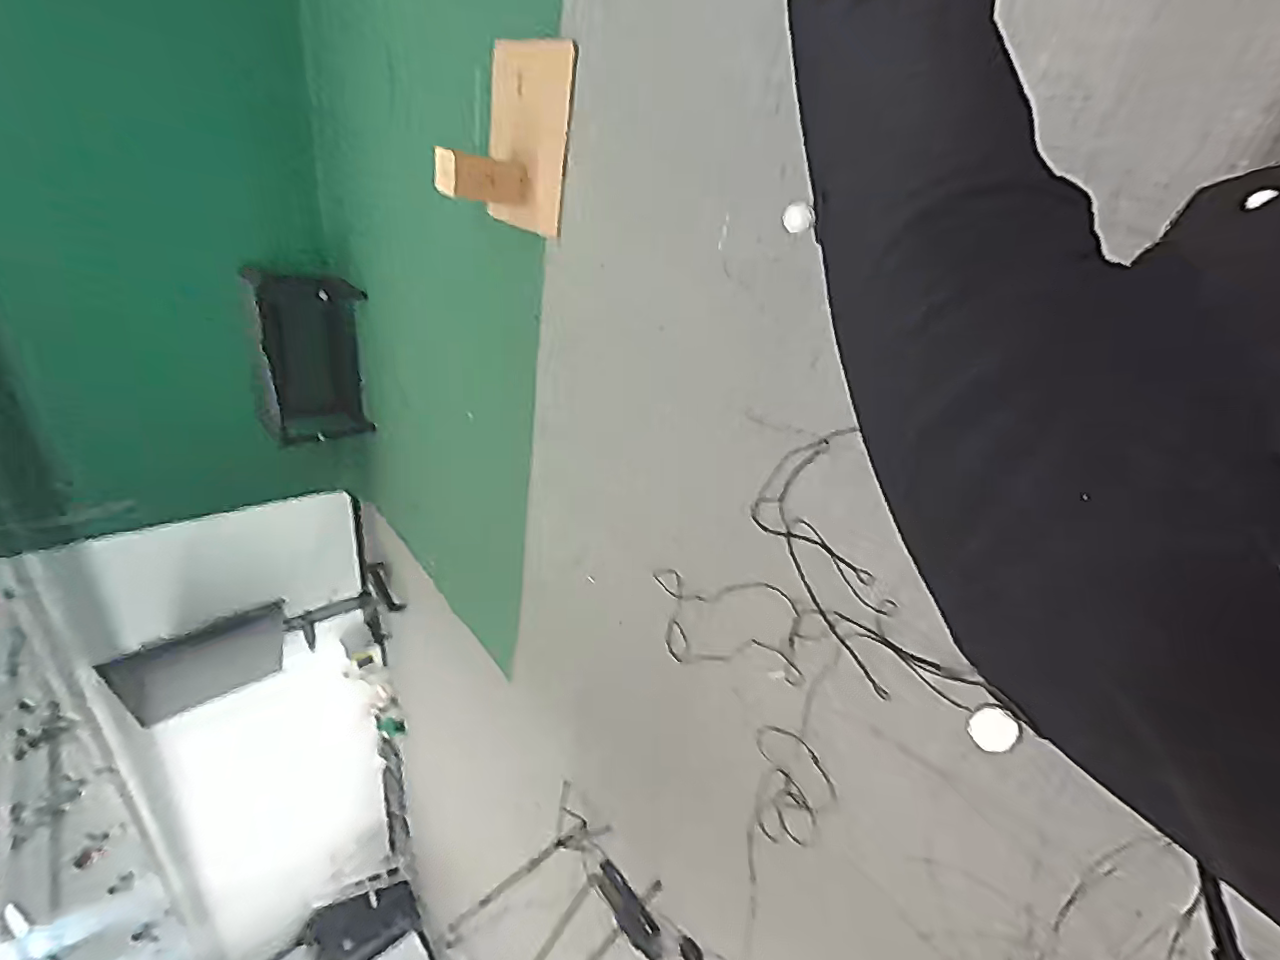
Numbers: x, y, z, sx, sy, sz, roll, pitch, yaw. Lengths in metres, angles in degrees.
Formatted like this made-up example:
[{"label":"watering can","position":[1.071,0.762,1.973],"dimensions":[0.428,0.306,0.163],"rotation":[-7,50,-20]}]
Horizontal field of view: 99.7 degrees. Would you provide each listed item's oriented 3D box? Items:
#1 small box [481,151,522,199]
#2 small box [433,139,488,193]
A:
[{"label":"small box","position":[-0.642,-1.364,2.411],"dimensions":[0.179,0.176,0.168],"rotation":[37,129,36]},{"label":"small box","position":[-0.768,-1.339,2.311],"dimensions":[0.179,0.176,0.168],"rotation":[38,128,34]}]
